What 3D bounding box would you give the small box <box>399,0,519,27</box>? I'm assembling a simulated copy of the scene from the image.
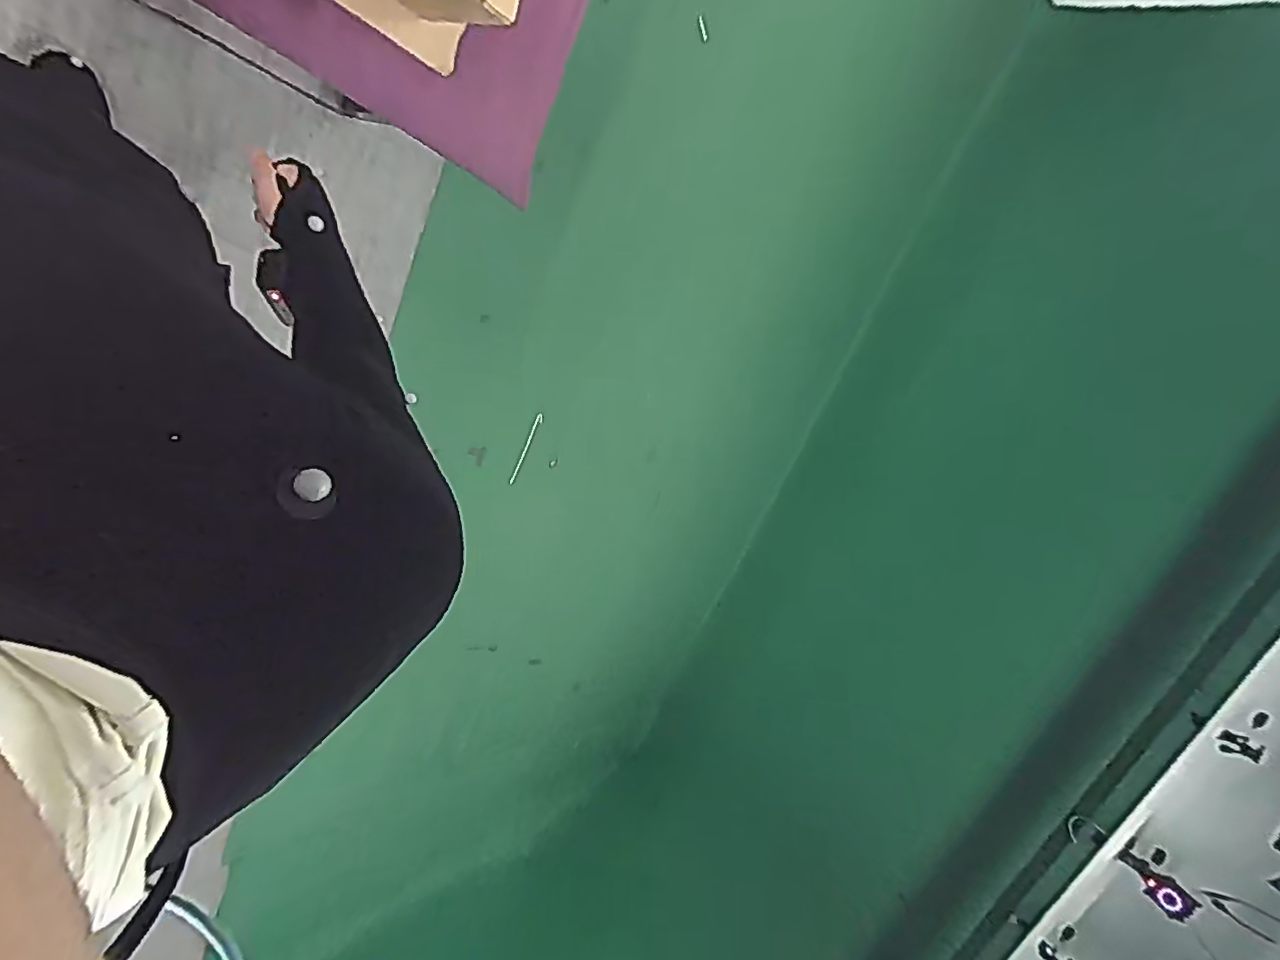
[{"bbox_3d":[-0.195,-0.543,0.469,0.168,0.176,0.179,0,118,-54],"label":"small box"}]
